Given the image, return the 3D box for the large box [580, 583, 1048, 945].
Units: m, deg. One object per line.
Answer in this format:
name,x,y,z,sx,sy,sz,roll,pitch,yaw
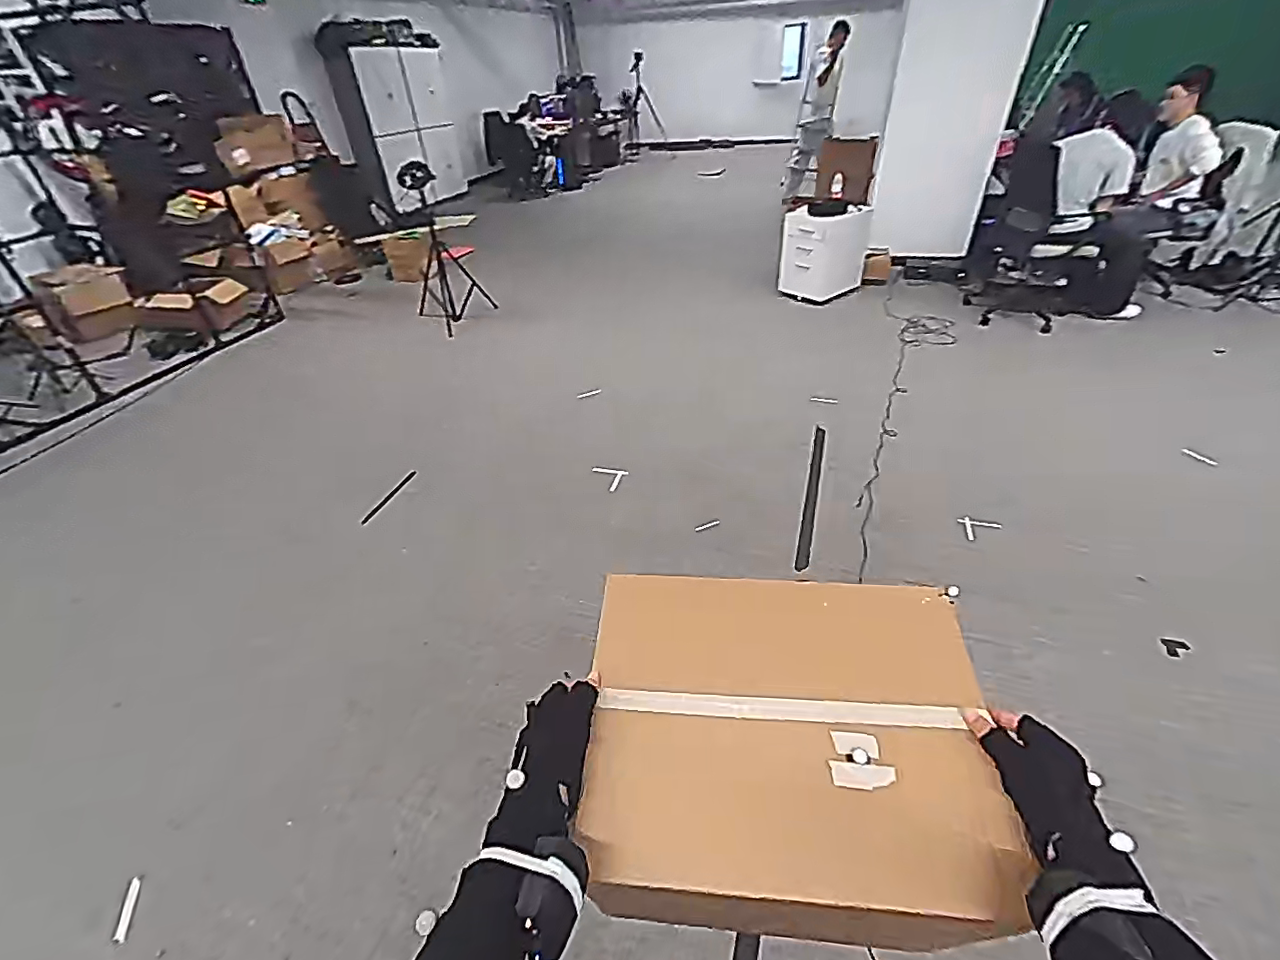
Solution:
large box,0.161,0.347,0.672,0.408,0.320,0.320,1,47,6
